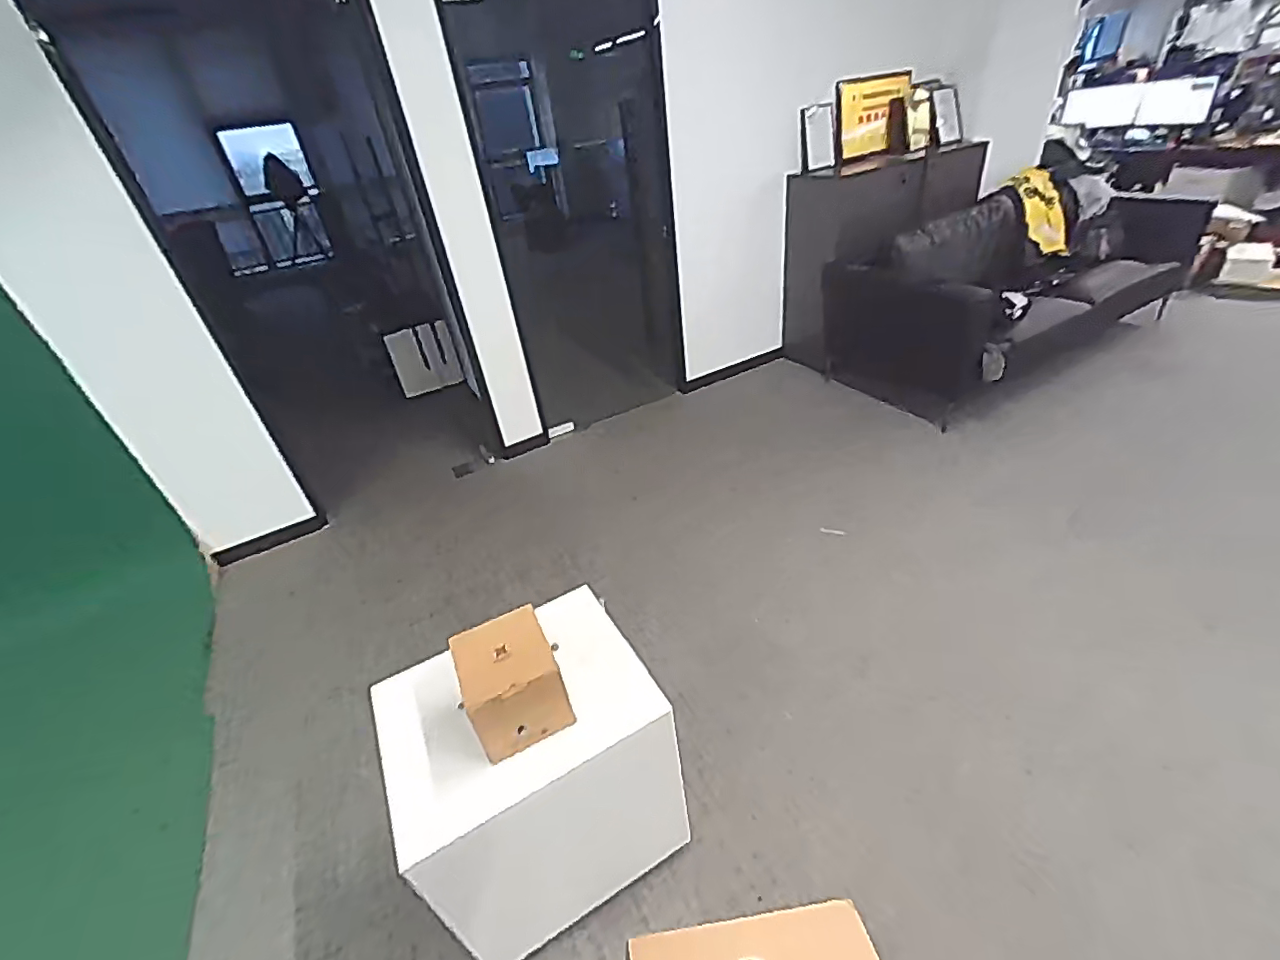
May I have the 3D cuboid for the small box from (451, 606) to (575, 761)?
[{"bbox_3d":[-0.235,0.377,1.009,0.168,0.176,0.179,-21,36,-18],"label":"small box"}]
